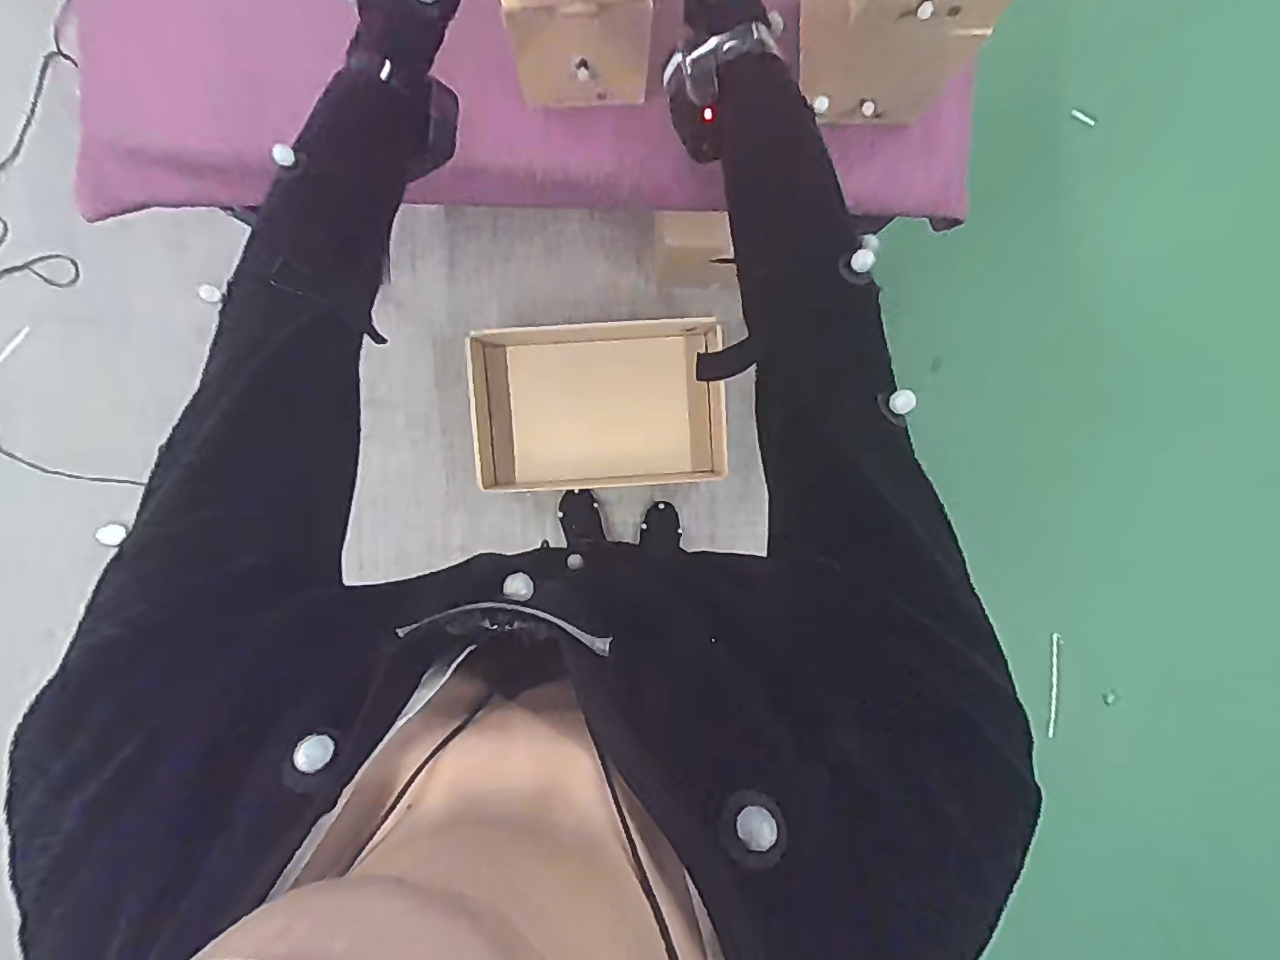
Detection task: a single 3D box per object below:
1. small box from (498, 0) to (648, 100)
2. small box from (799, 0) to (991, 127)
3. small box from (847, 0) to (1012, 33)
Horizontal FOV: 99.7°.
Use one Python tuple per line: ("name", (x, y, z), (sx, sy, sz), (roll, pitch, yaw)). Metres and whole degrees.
("small box", (-0.078, -0.596, 0.657), (0.168, 0.176, 0.179), (-4, 93, -2))
("small box", (0.304, -0.580, 0.672), (0.168, 0.176, 0.179), (0, 92, -2))
("small box", (0.304, -0.576, 0.509), (0.168, 0.176, 0.179), (-2, 92, -1))
